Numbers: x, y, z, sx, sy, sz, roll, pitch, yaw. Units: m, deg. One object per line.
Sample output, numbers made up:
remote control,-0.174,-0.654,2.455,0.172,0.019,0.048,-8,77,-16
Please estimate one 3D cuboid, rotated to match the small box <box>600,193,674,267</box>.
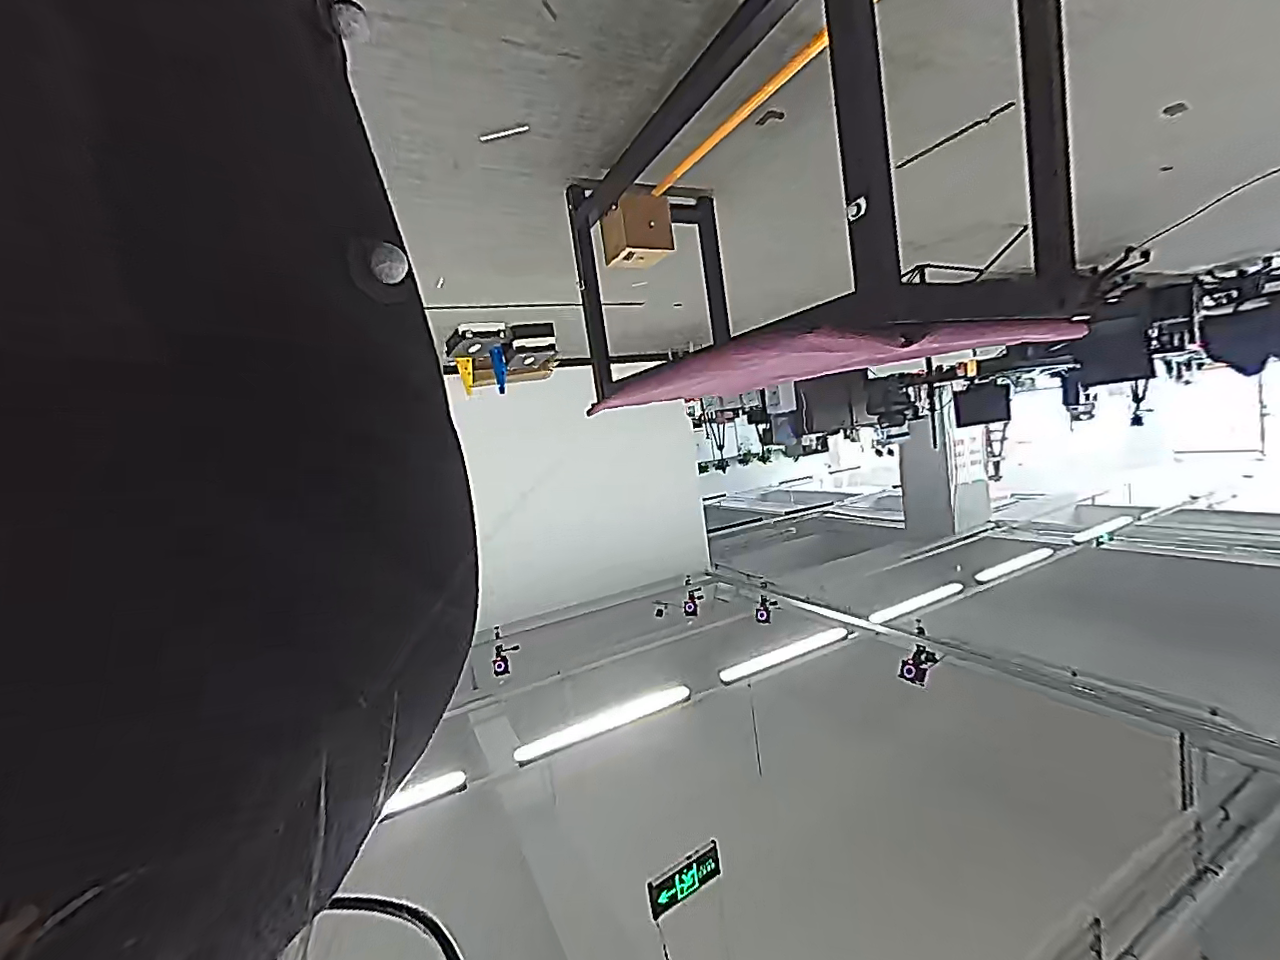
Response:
small box,-0.015,-0.803,1.740,0.179,0.176,0.168,-11,-175,-27
